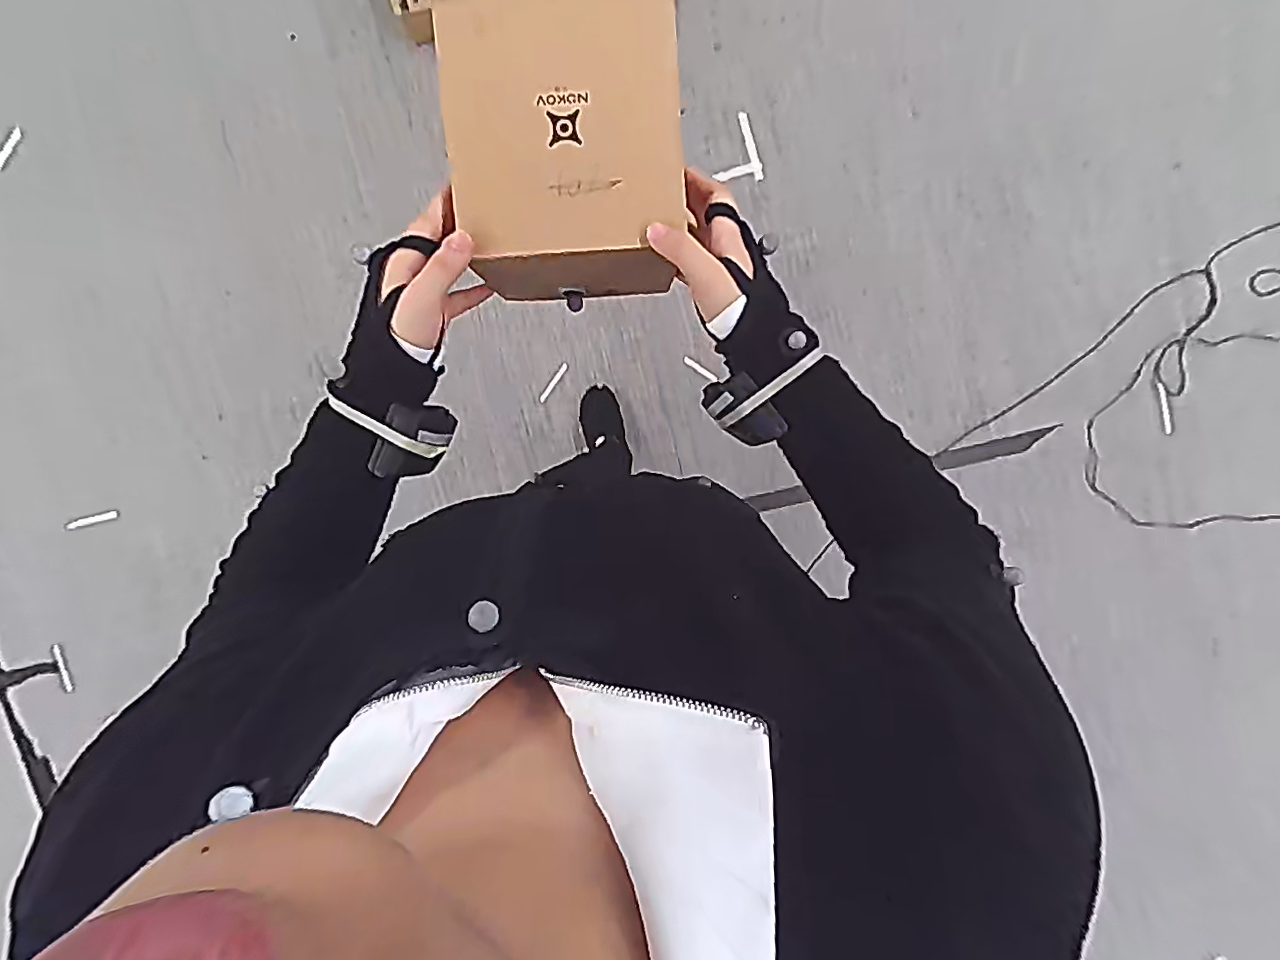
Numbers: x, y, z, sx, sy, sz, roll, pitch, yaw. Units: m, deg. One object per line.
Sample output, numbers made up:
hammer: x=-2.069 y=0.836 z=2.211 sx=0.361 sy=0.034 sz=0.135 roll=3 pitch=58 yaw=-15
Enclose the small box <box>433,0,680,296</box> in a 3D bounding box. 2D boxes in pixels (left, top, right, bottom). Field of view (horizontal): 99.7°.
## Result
small box: x=-0.059 y=-0.266 z=0.457 sx=0.168 sy=0.176 sz=0.179 roll=-4 pitch=98 yaw=-1
